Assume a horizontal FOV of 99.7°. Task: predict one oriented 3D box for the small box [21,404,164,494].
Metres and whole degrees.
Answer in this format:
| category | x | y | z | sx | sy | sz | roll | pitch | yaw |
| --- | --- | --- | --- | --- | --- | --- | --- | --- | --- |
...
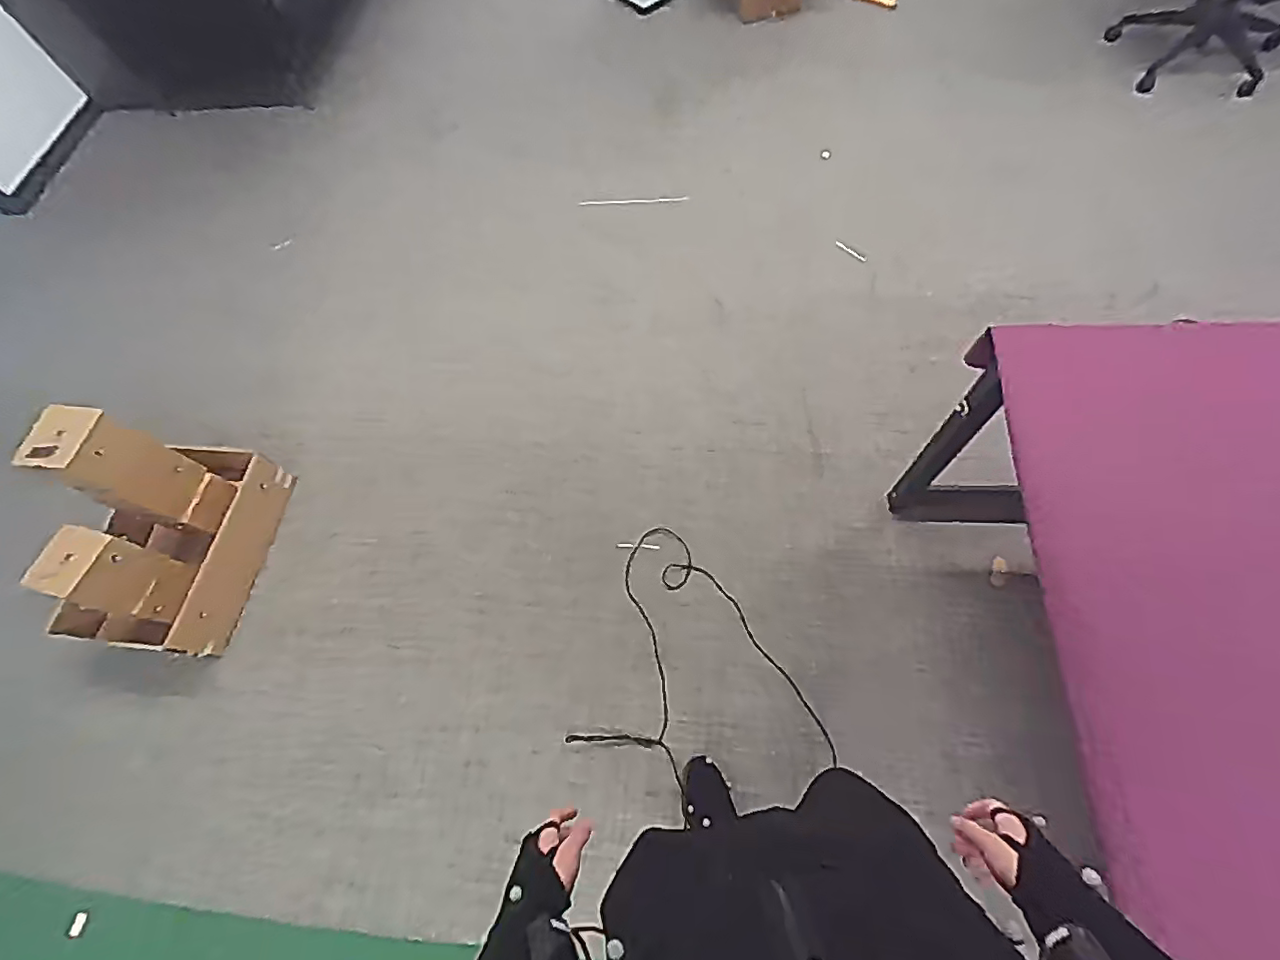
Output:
| category | x | y | z | sx | sy | sz | roll | pitch | yaw |
| --- | --- | --- | --- | --- | --- | --- | --- | --- | --- |
| small box | -1.423 | -0.077 | 1.422 | 0.168 | 0.176 | 0.179 | 5 | 65 | 8 |
